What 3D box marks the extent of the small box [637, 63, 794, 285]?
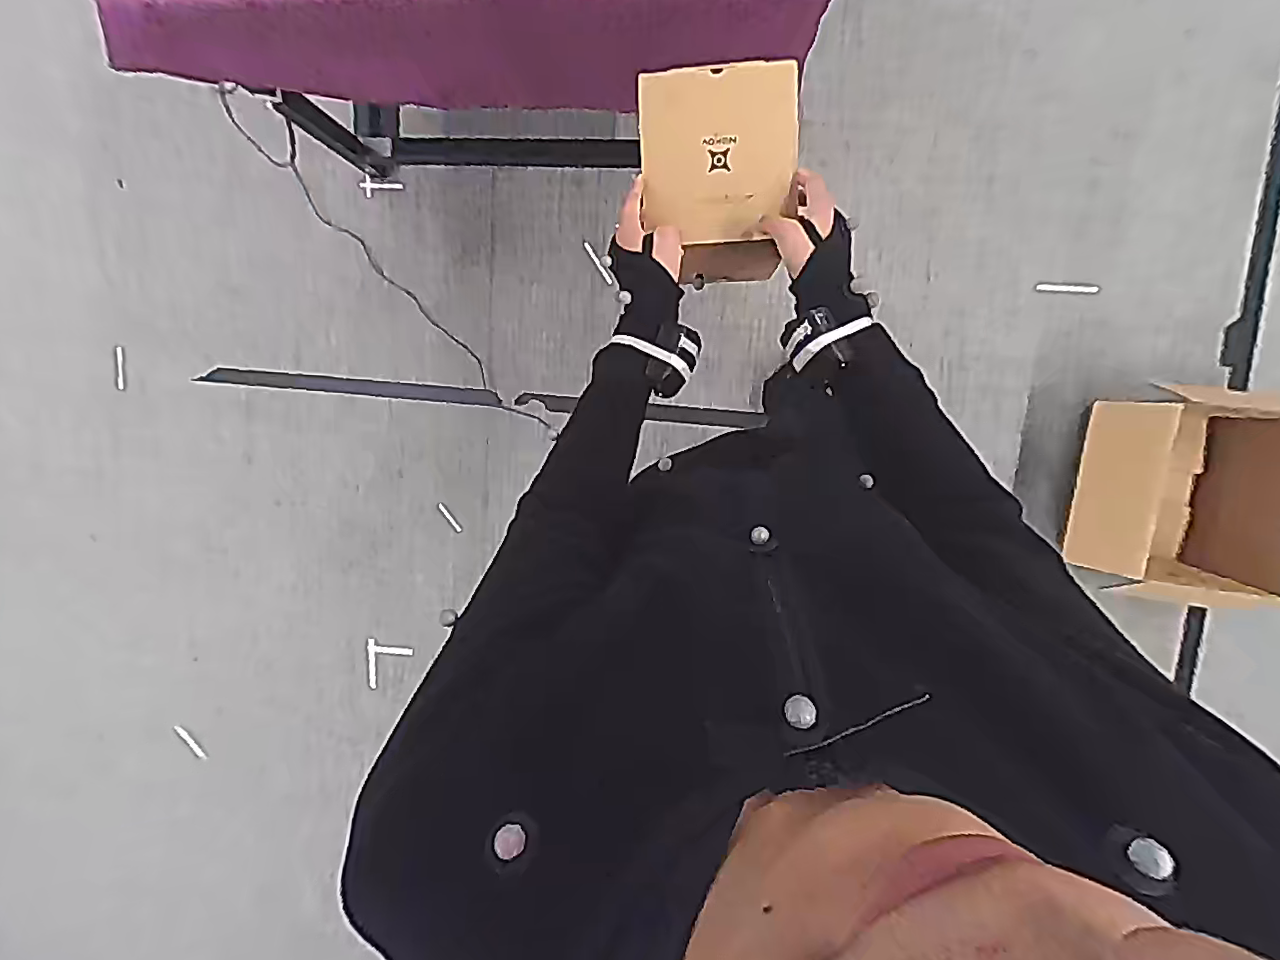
[{"bbox_3d":[0.083,-0.351,0.652,0.168,0.176,0.179,-2,95,4],"label":"small box"}]
